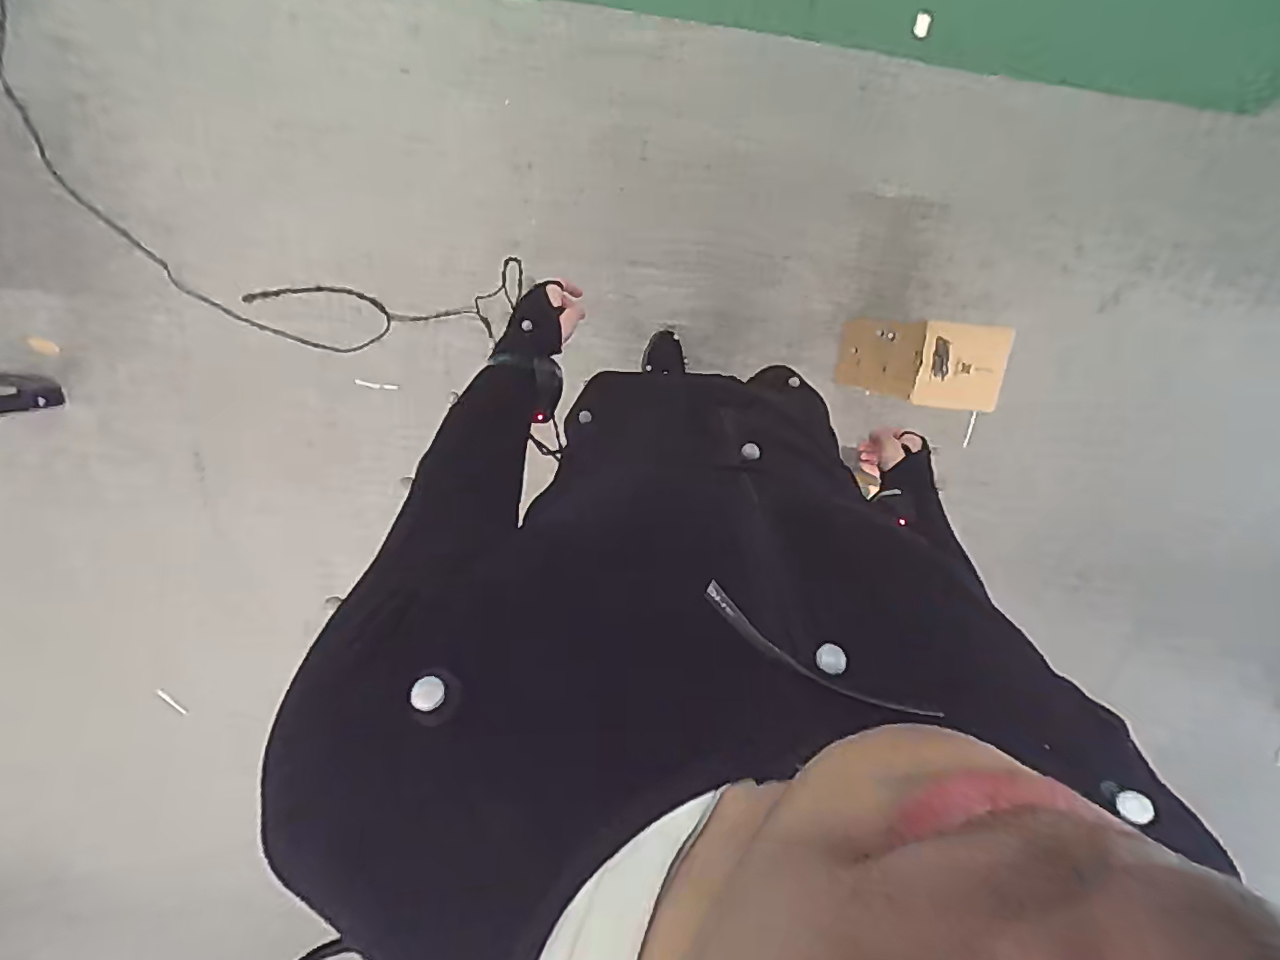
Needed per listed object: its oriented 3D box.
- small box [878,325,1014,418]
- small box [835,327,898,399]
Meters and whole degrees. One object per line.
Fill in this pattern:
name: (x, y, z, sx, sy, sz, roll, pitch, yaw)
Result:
small box: (0.635, -0.233, 1.147, 0.179, 0.176, 0.168, 6, 105, -2)
small box: (0.650, -0.313, 1.465, 0.168, 0.176, 0.179, 8, 105, -1)
